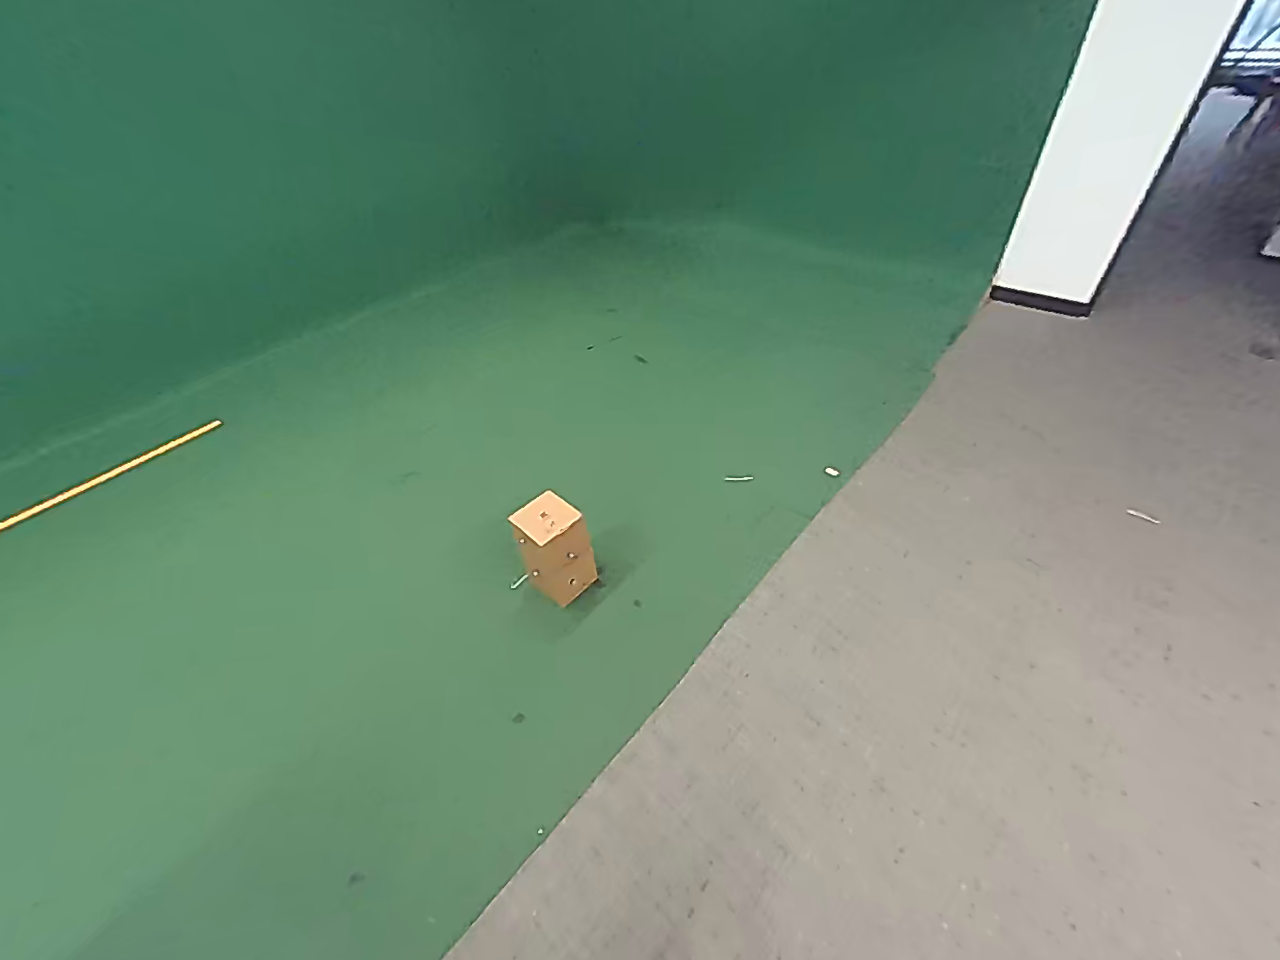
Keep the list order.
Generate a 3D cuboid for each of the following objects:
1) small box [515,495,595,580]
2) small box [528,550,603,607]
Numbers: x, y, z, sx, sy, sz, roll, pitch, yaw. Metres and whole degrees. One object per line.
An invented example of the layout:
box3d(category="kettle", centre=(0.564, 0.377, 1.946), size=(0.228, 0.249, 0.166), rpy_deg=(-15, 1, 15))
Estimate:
box3d(category="small box", centre=(-0.266, 0.184, 1.715), size=(0.179, 0.176, 0.168), rpy_deg=(31, 56, 34))
box3d(category="small box", centre=(-0.246, 0.302, 1.830), size=(0.179, 0.176, 0.168), rpy_deg=(28, 54, 33))
